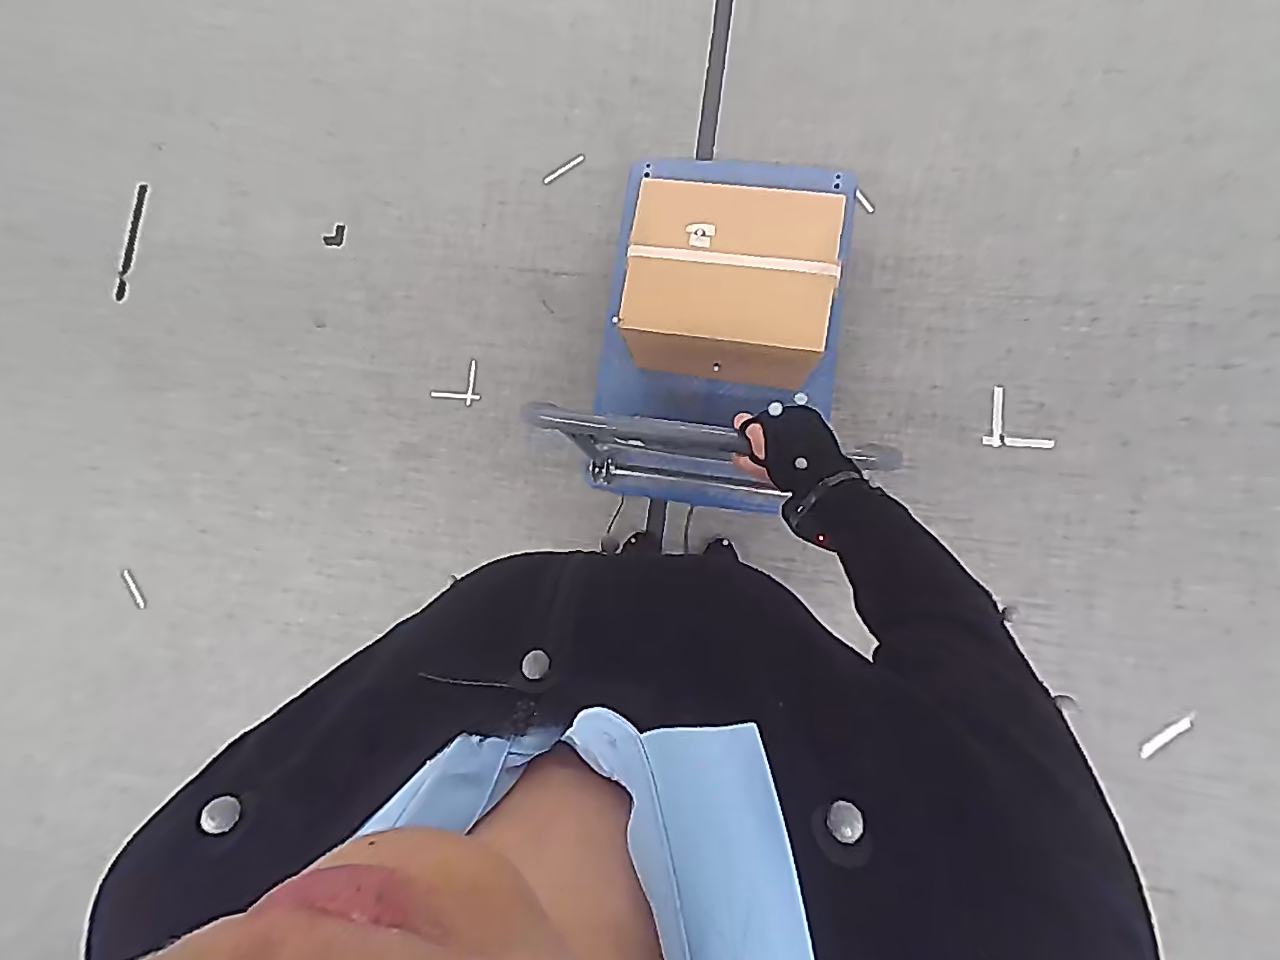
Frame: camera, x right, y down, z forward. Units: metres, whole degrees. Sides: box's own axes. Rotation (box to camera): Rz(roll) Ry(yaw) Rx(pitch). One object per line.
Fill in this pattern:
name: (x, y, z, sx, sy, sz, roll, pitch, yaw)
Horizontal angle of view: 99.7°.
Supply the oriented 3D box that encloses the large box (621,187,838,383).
large box: (0.196, -0.419, 1.220, 0.408, 0.320, 0.320, 8, 86, 8)
